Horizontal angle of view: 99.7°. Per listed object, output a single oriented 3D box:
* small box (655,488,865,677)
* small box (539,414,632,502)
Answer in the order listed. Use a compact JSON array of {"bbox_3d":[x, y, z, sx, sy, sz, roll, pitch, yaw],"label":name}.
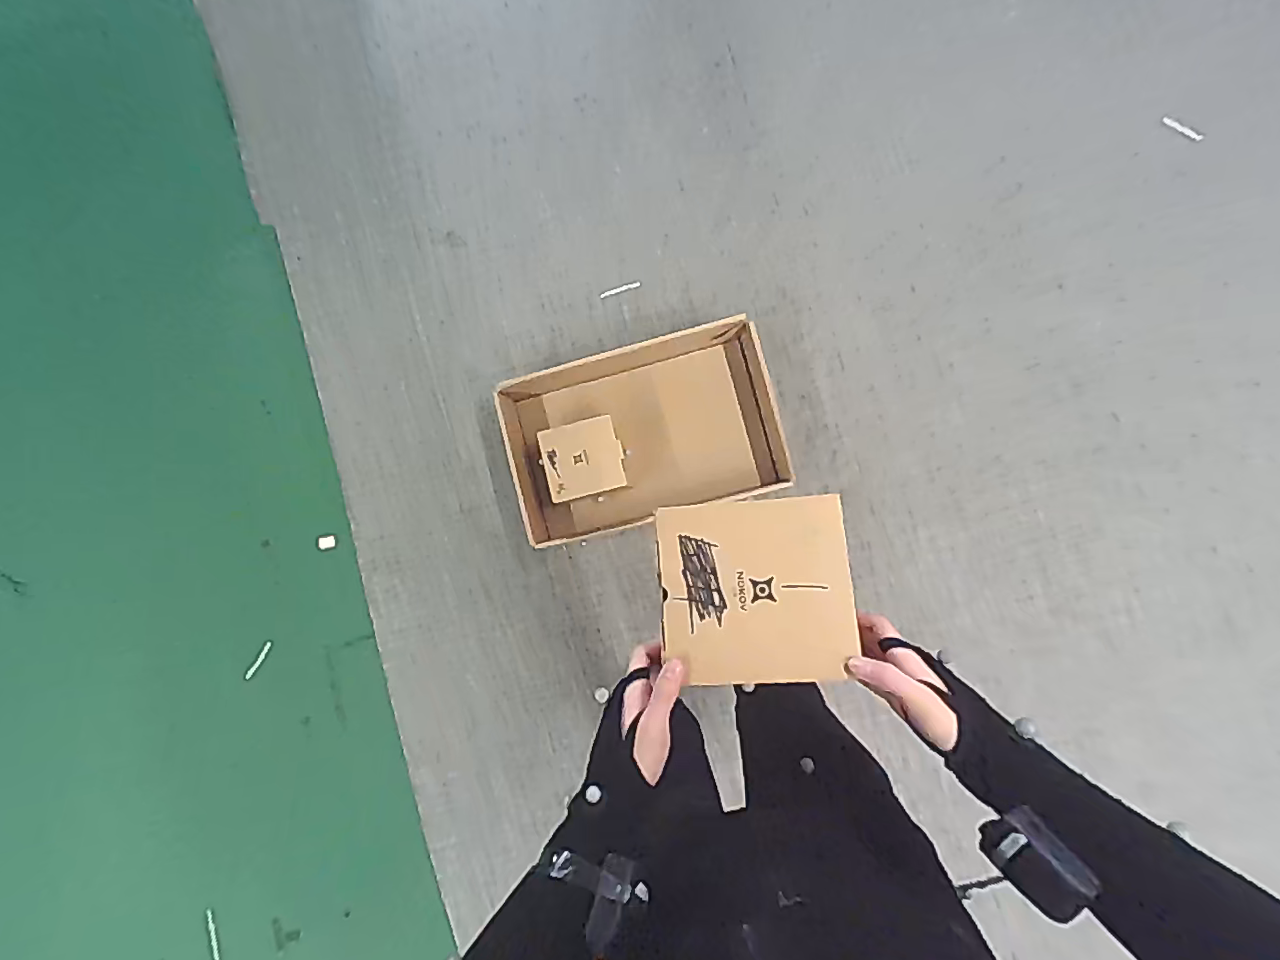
[{"bbox_3d":[0.118,0.109,0.568,0.179,0.176,0.168,-6,78,9],"label":"small box"},{"bbox_3d":[-0.120,-0.046,1.270,0.179,0.176,0.168,-14,86,3],"label":"small box"}]
